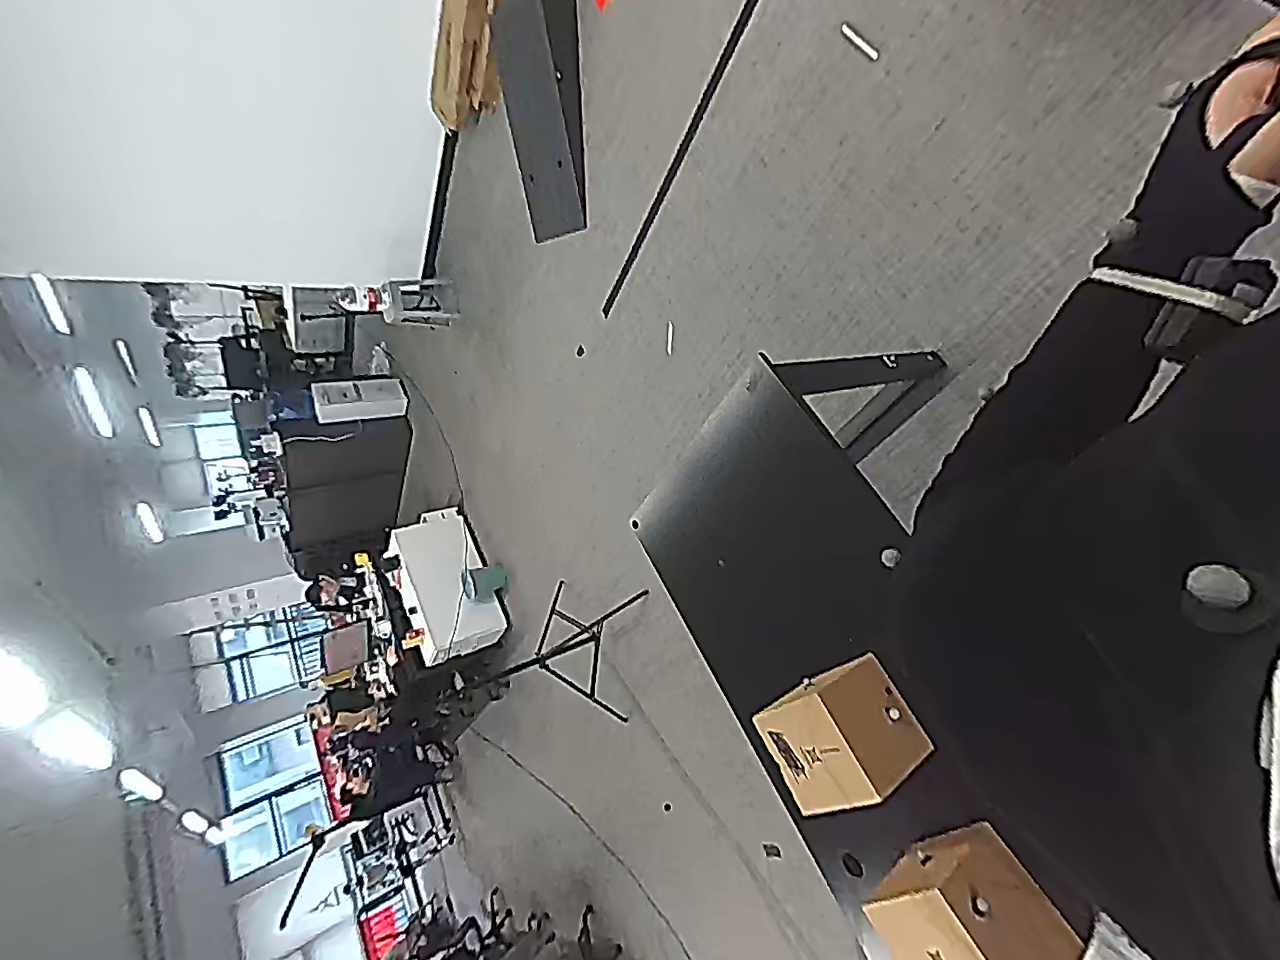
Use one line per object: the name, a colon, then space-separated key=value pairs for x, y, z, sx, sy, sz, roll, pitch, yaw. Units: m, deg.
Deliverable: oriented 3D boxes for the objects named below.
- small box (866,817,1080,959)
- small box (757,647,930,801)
small box: x=0.483 y=0.630 z=0.793 sx=0.179 sy=0.176 sz=0.168 roll=54 pitch=139 yaw=27
small box: x=0.341 y=0.408 z=0.913 sx=0.168 sy=0.176 sz=0.179 roll=60 pitch=140 yaw=20
